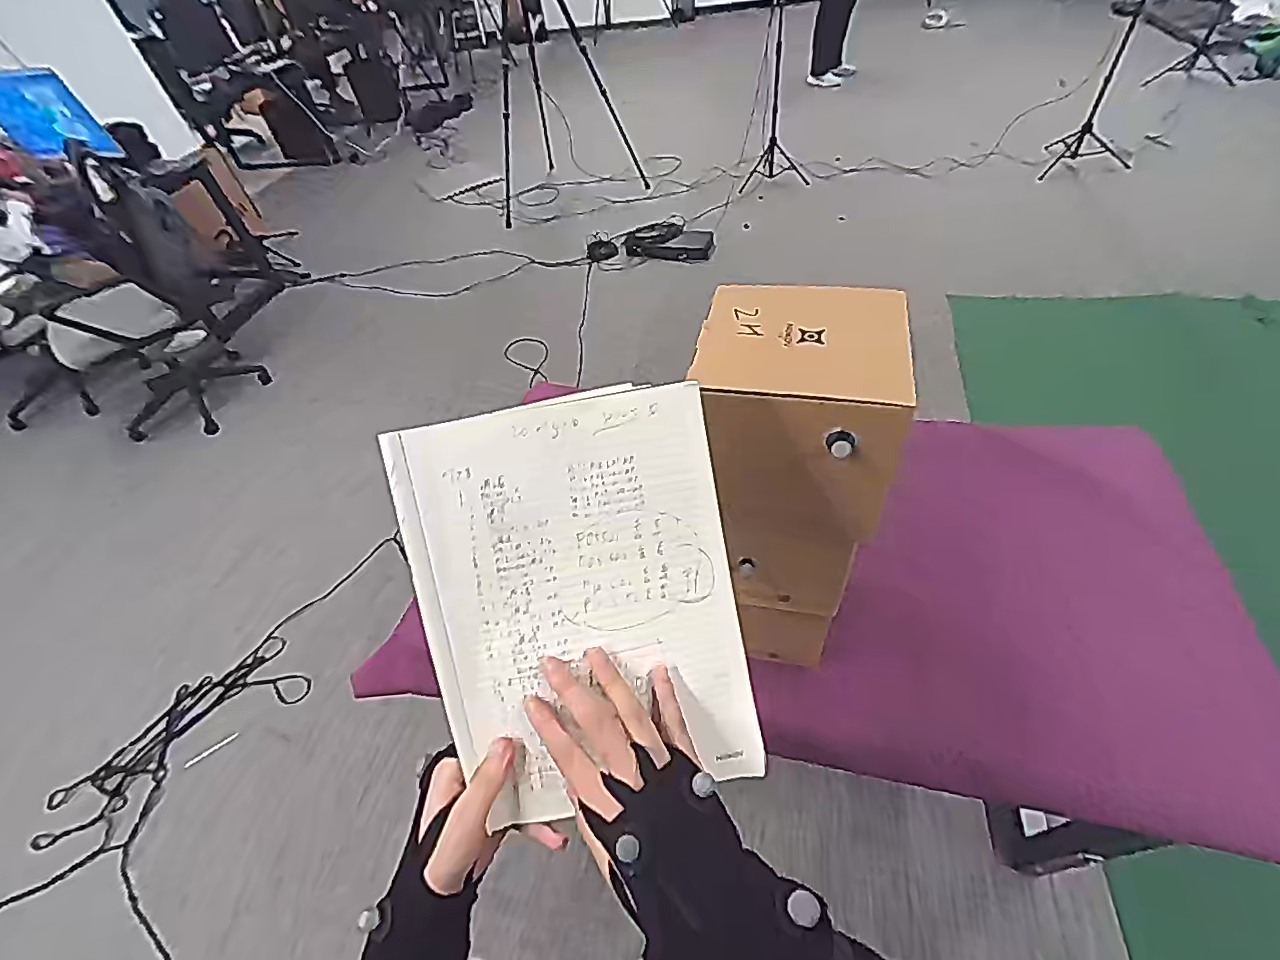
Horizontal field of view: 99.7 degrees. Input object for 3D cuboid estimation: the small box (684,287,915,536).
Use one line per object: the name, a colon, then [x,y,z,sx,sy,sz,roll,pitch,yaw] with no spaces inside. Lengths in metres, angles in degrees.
small box: [0.148,-0.064,0.523,0.179,0.176,0.168,7,48,15]

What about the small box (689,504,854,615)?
small box: [0.158,0.040,0.651,0.168,0.176,0.179,6,48,14]
